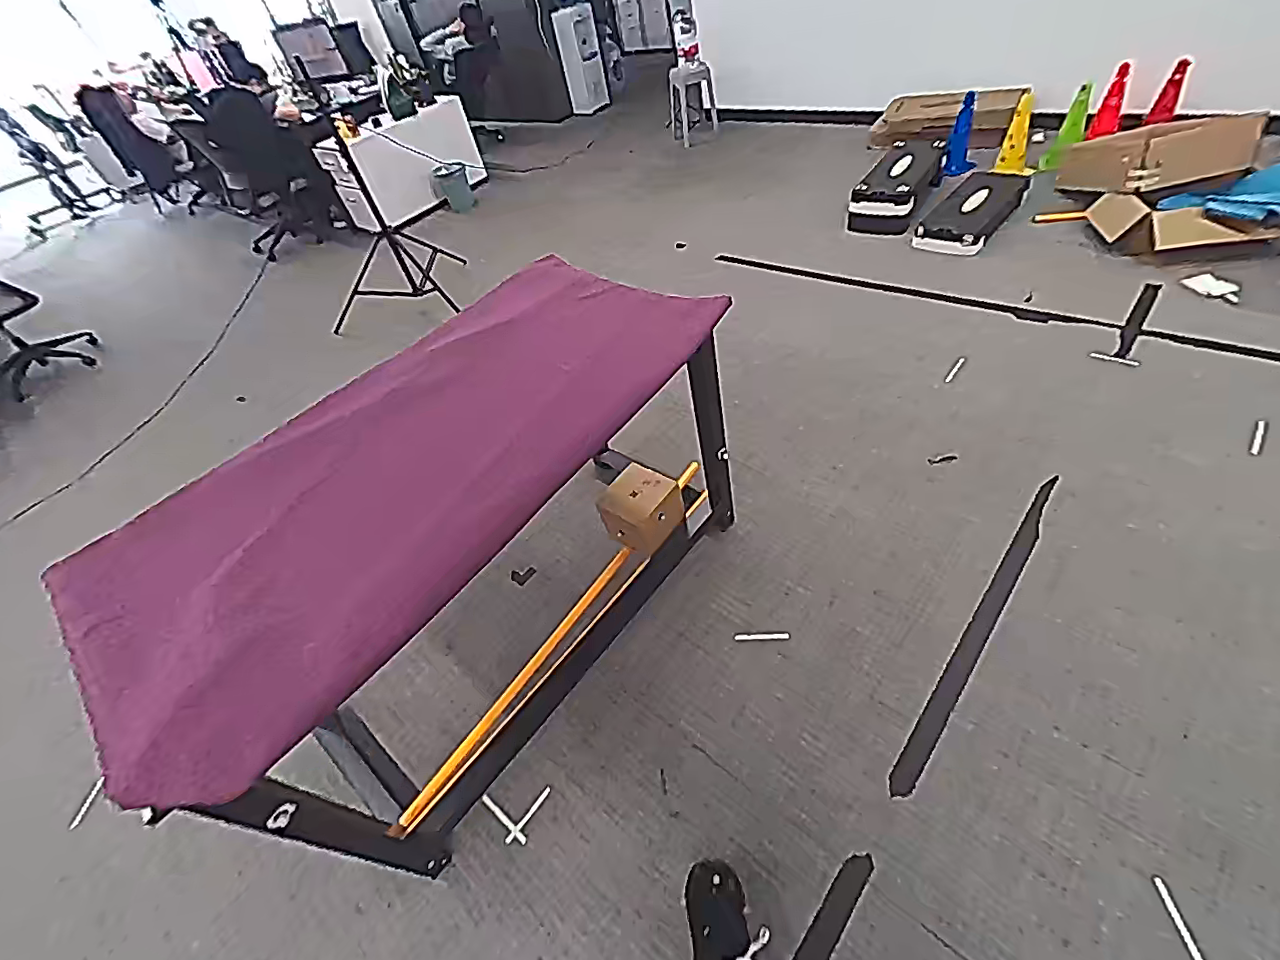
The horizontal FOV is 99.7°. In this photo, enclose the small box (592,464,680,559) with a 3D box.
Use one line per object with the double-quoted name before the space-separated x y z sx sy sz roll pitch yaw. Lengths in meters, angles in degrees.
"small box" -0.003 0.092 1.526 0.168 0.176 0.179 26 60 31
